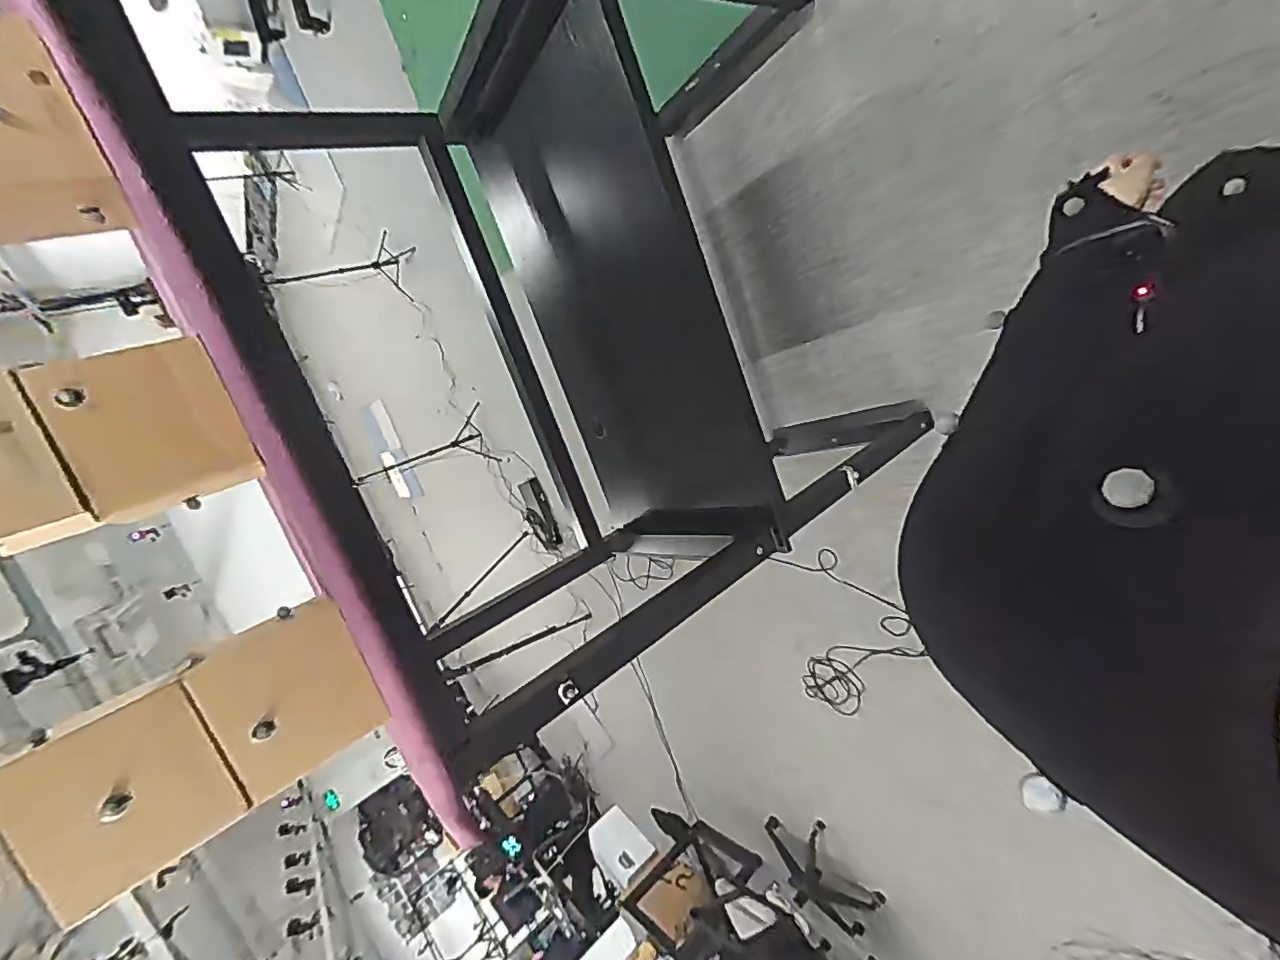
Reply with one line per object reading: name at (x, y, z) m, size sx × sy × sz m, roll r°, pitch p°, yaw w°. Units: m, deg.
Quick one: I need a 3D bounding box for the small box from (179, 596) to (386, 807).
small box at (-0.465, 0.277, 0.721) m, size 0.168 × 0.176 × 0.179 m, roll -9°, pitch 104°, yaw 54°

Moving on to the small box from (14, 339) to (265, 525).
small box at (-0.601, -0.057, 0.684) m, size 0.168 × 0.176 × 0.179 m, roll -7°, pitch 106°, yaw 56°

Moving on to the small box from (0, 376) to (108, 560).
small box at (-0.726, -0.002, 0.595) m, size 0.179 × 0.176 × 0.168 m, roll -11°, pitch 101°, yaw 58°

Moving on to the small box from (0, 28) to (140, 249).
small box at (-0.734, -0.389, 0.627) m, size 0.179 × 0.176 × 0.168 m, roll 4°, pitch 117°, yaw 54°
